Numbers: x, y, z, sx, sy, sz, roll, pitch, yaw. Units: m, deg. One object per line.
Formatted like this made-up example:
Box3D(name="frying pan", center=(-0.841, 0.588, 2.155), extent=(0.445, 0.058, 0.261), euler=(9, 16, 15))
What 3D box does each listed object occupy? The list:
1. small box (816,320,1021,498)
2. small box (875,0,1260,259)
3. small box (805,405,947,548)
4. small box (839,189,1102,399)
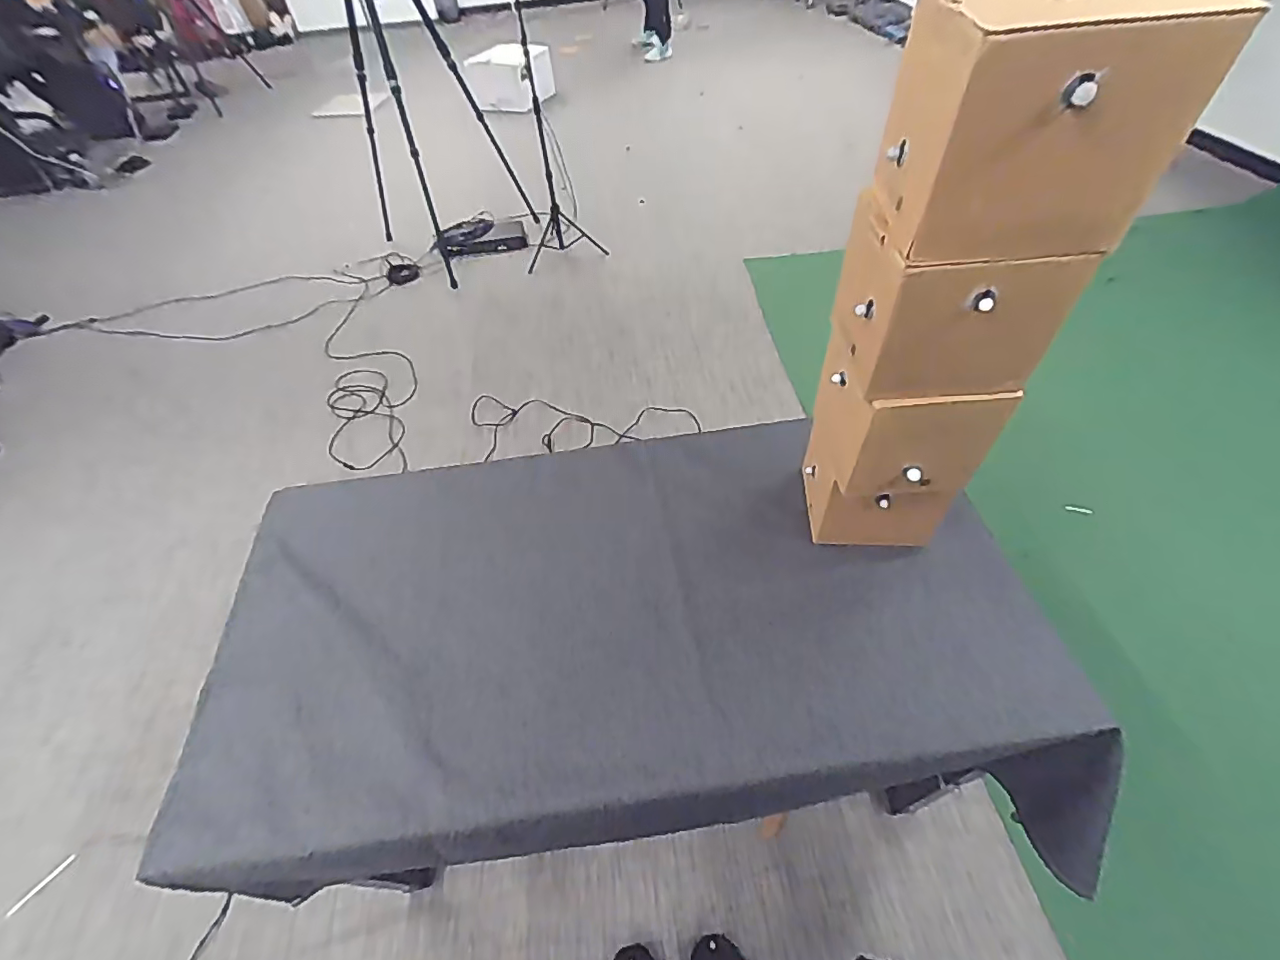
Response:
Box3D(name="small box", center=(0.343, -0.097, 0.713), extent=(0.168, 0.176, 0.179), euler=(-4, 51, 3))
Box3D(name="small box", center=(0.326, -0.308, 0.466), extent=(0.179, 0.176, 0.168), euler=(0, 51, 6))
Box3D(name="small box", center=(0.362, -0.007, 0.849), extent=(0.179, 0.176, 0.168), euler=(1, 51, 6))
Box3D(name="small box", center=(0.328, -0.202, 0.589), extent=(0.179, 0.176, 0.168), euler=(-2, 51, 4))
